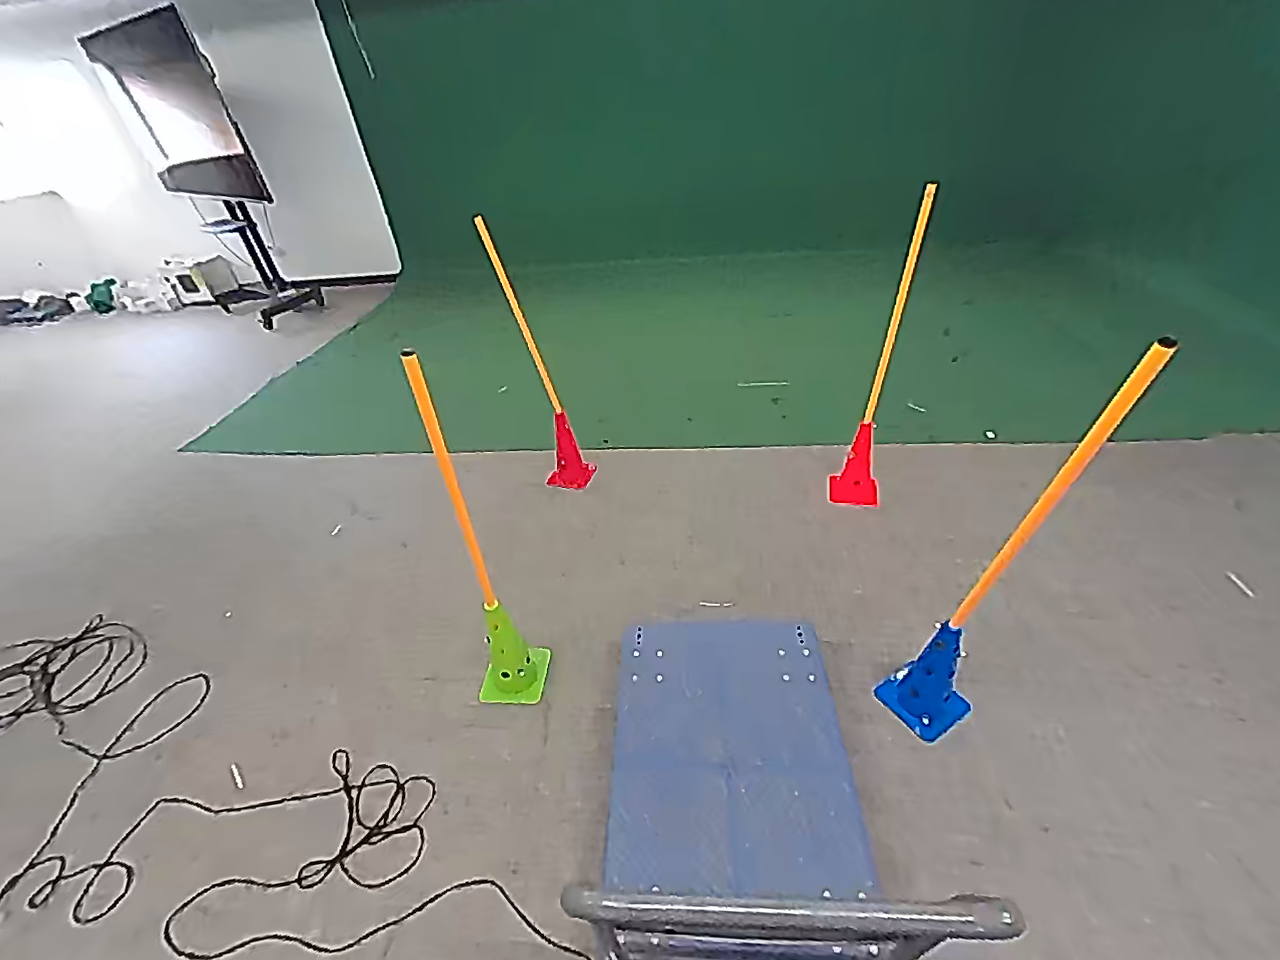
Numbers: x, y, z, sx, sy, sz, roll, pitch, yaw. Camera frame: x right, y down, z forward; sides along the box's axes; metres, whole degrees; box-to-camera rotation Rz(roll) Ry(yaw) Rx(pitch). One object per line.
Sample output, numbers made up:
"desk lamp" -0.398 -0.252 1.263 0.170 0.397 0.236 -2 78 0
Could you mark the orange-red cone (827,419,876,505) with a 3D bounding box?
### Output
"orange-red cone" 0.912 -0.095 2.266 0.198 0.360 0.199 6 40 16
